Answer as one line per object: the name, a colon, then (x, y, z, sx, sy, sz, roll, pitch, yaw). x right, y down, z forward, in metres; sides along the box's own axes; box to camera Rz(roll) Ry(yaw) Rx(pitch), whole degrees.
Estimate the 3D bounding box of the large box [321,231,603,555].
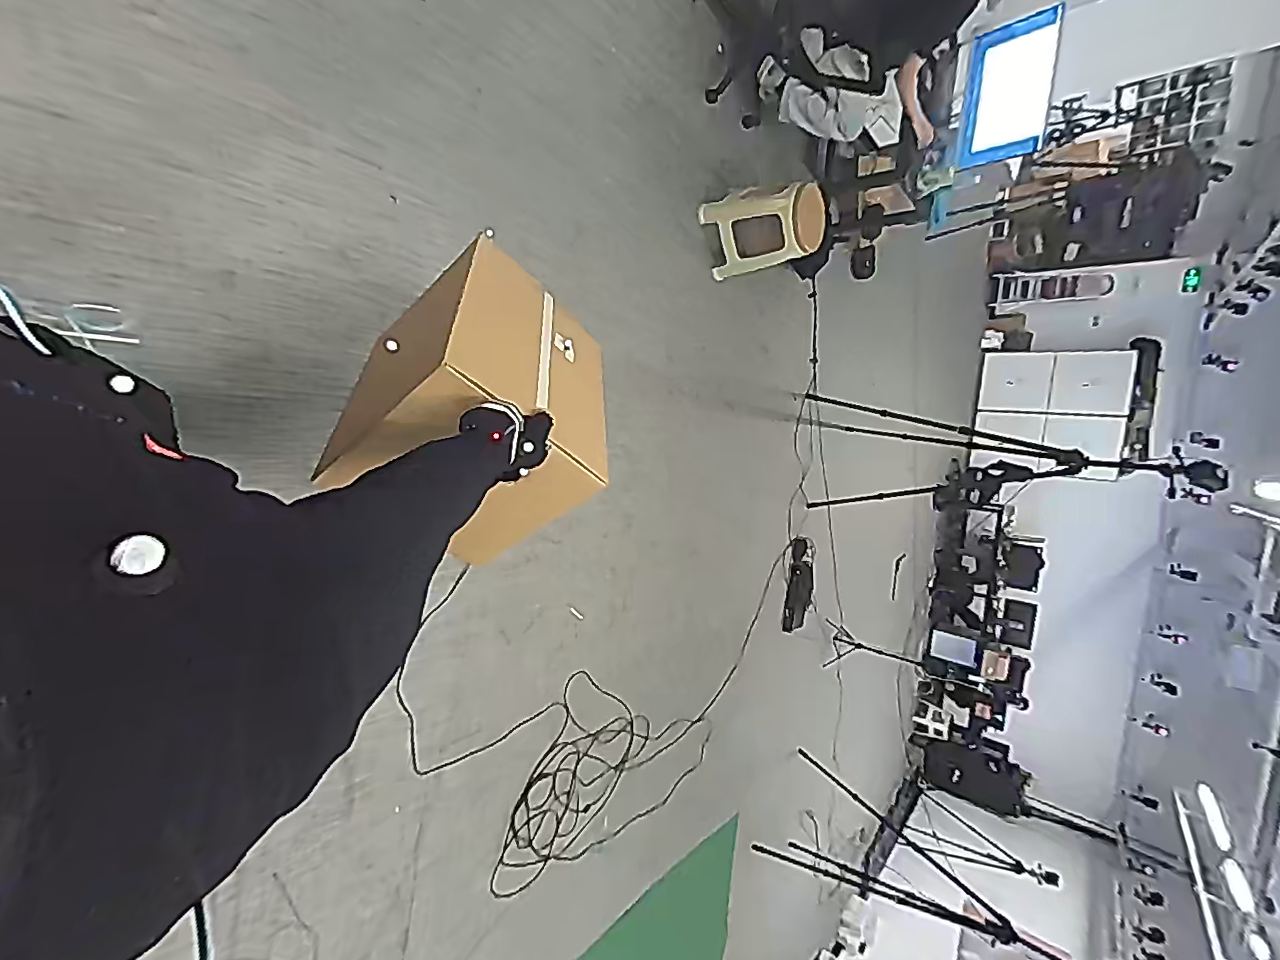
large box: (-0.288, -0.145, 0.958, 0.320, 0.320, 0.408, 40, 30, -38)
